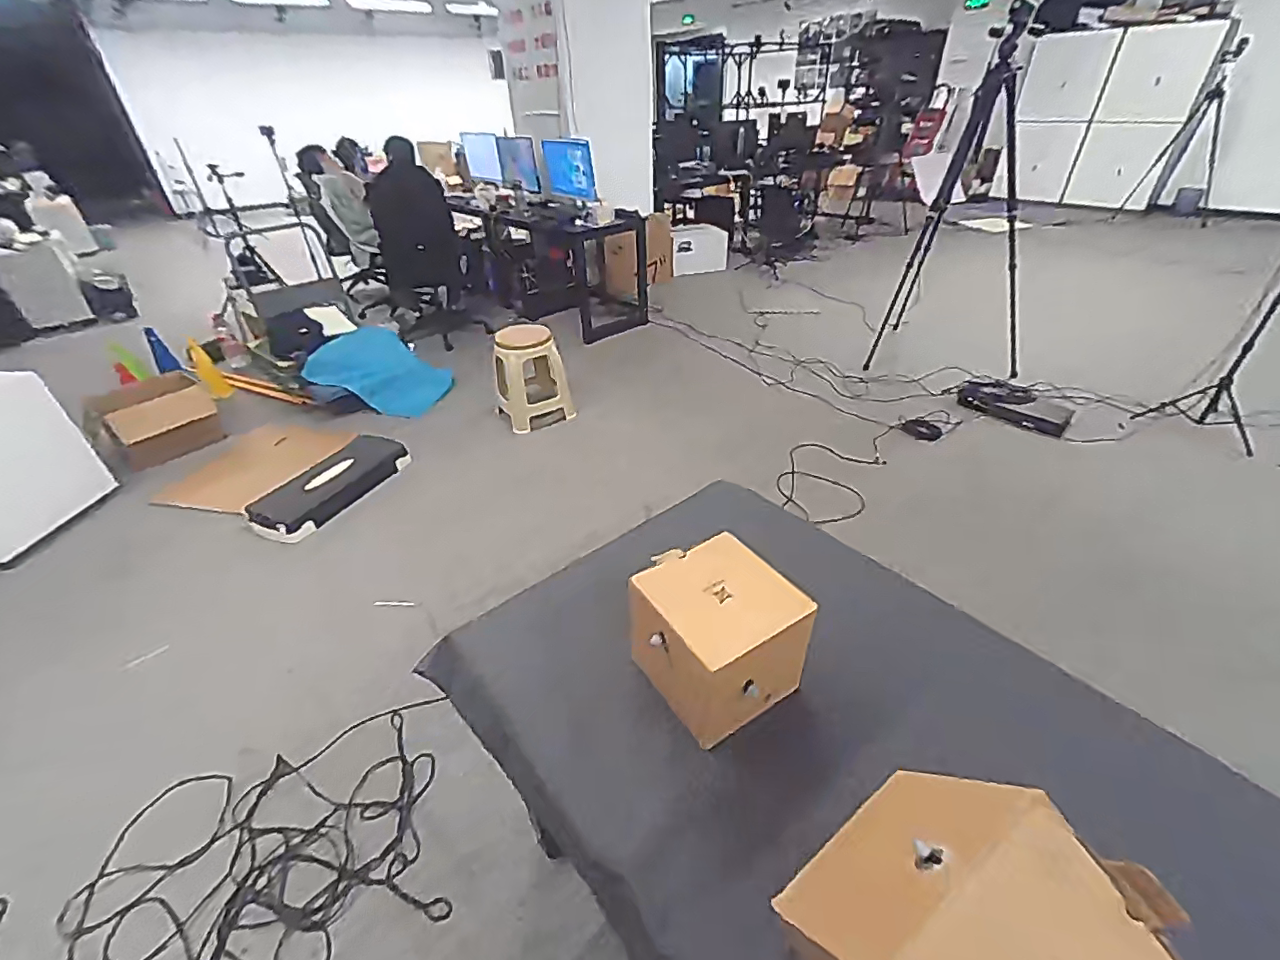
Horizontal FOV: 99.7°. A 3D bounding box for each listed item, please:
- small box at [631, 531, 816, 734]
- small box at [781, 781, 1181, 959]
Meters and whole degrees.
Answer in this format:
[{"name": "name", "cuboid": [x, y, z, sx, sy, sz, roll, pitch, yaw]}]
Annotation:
[{"name": "small box", "cuboid": [0.104, 0.205, 0.723, 0.168, 0.176, 0.179, -21, 39, -26]}, {"name": "small box", "cuboid": [0.236, 0.346, 0.387, 0.179, 0.176, 0.168, -30, 74, -21]}]
